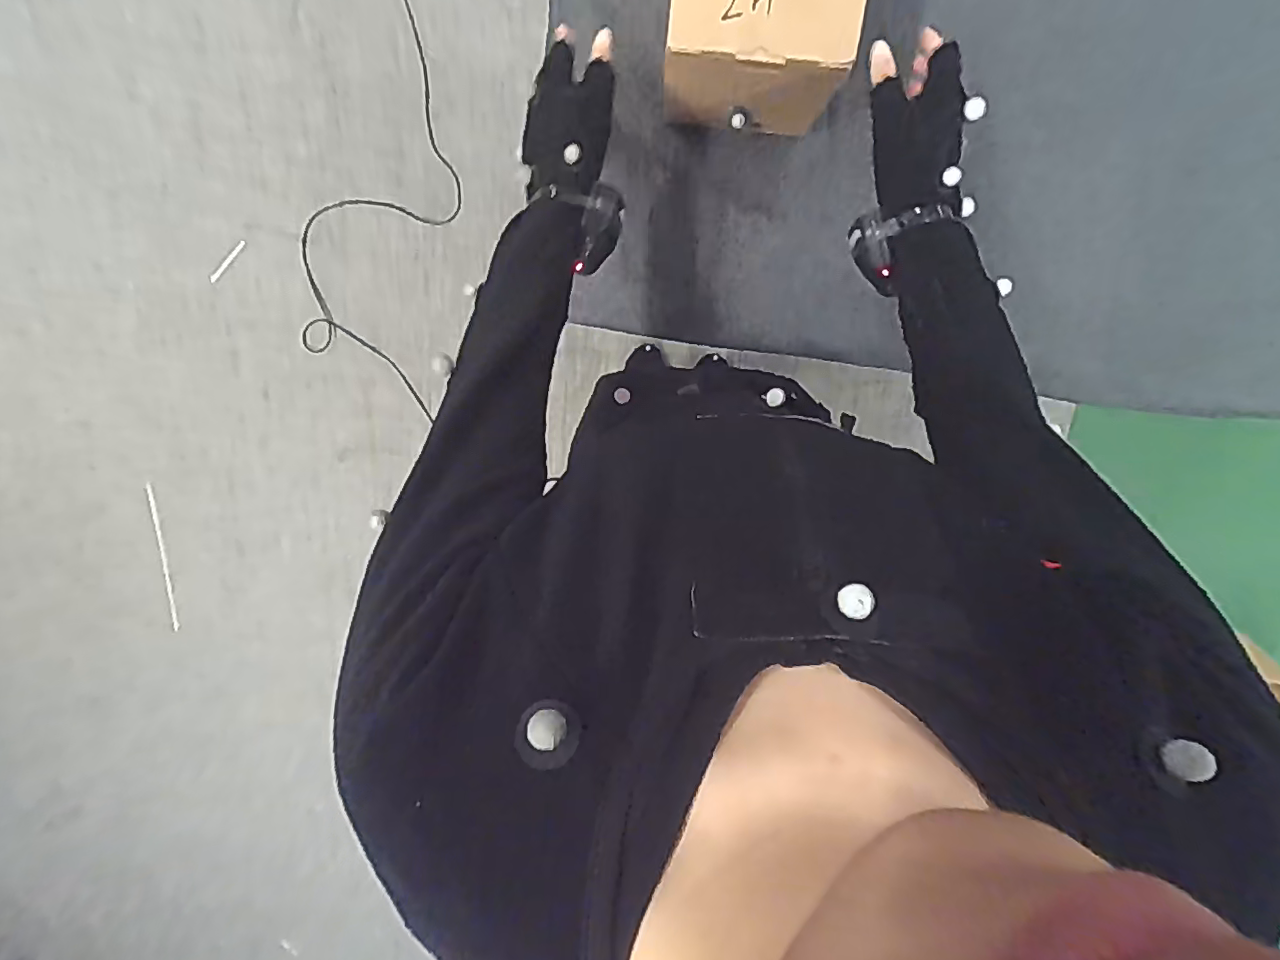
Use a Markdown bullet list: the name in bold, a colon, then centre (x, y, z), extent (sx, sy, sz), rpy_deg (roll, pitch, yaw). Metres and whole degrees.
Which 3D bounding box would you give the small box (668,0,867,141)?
- **small box**: centre (0.118, -0.467, 0.530), extent (0.168, 0.176, 0.179), rpy_deg (6, 104, 1)
